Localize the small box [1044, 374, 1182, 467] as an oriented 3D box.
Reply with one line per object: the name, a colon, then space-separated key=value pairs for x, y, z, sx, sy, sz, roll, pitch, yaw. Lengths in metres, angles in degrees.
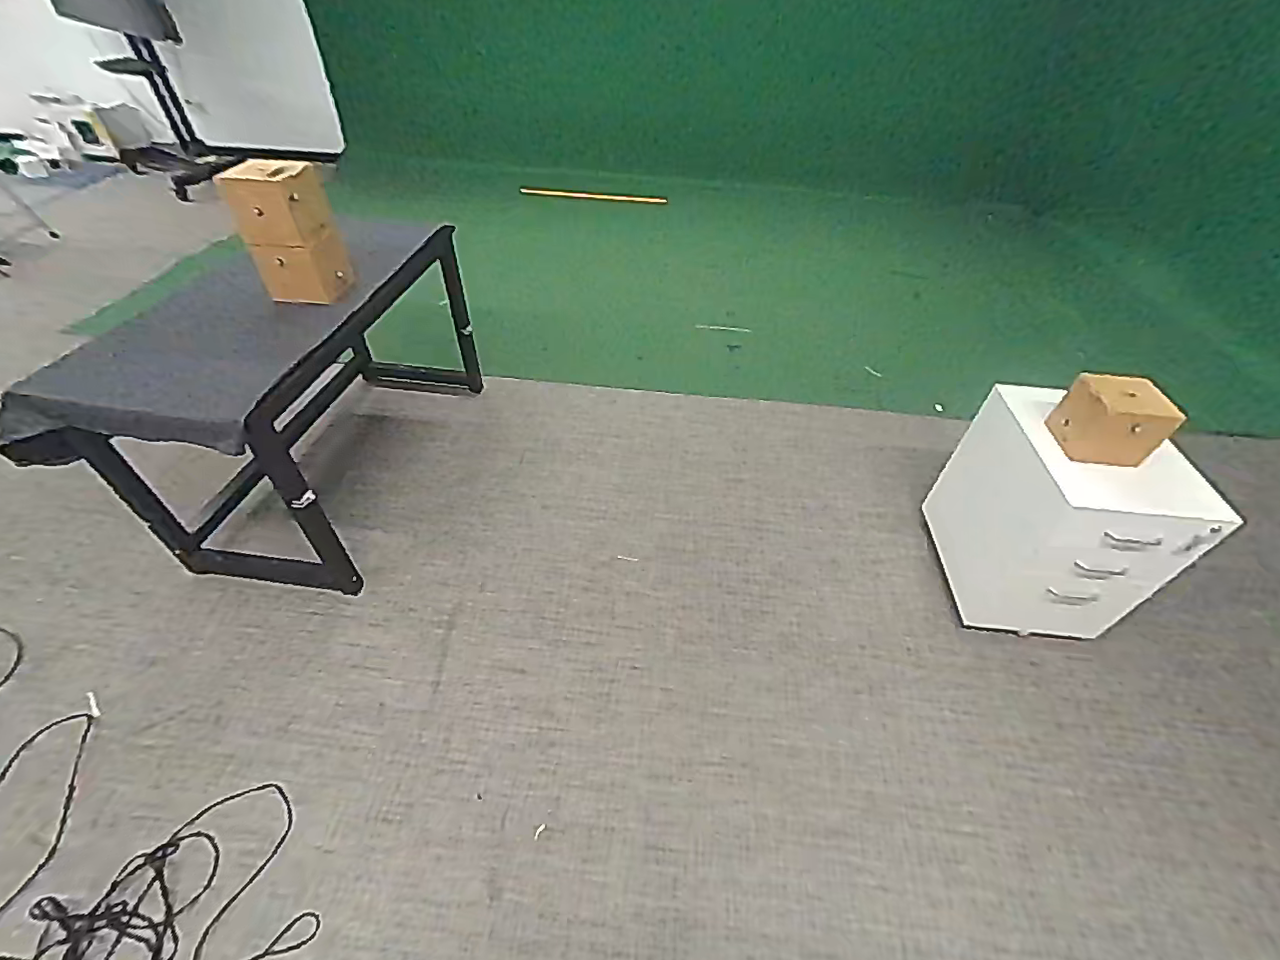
small box: x=1.209 y=-0.151 z=1.399 sx=0.179 sy=0.176 sz=0.168 roll=6 pitch=44 yaw=2

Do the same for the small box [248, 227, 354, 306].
small box: x=-0.984 y=-0.626 z=1.586 sx=0.179 sy=0.176 sz=0.168 roll=3 pitch=44 yaw=2
